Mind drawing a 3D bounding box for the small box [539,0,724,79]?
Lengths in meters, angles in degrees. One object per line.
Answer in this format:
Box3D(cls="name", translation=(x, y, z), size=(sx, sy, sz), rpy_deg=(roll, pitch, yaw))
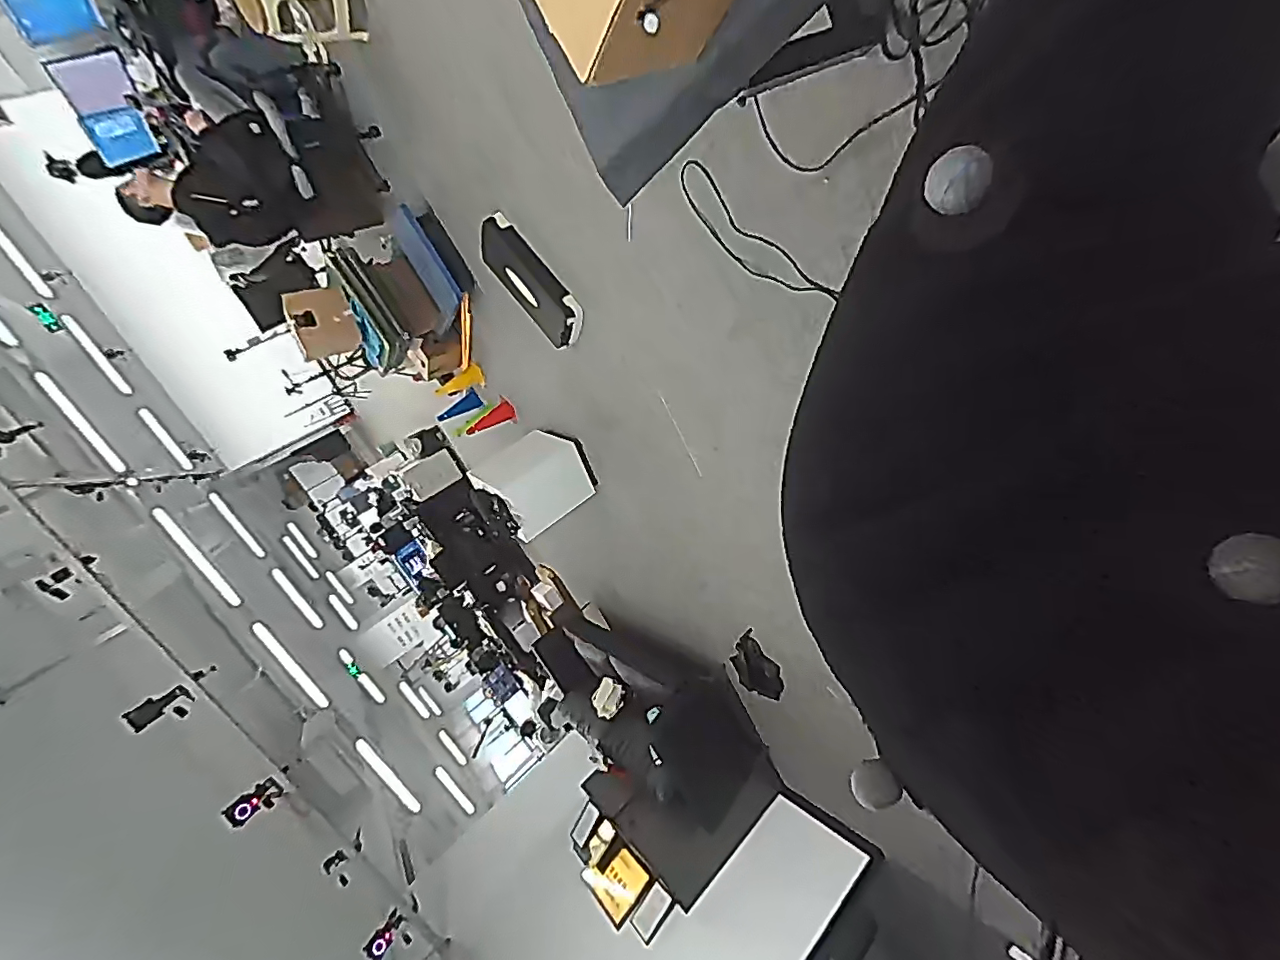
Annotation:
Box3D(cls="small box", translation=(-0.002, -0.531, 0.501), size=(0.168, 0.176, 0.179), rpy_deg=(58, 155, -7))
